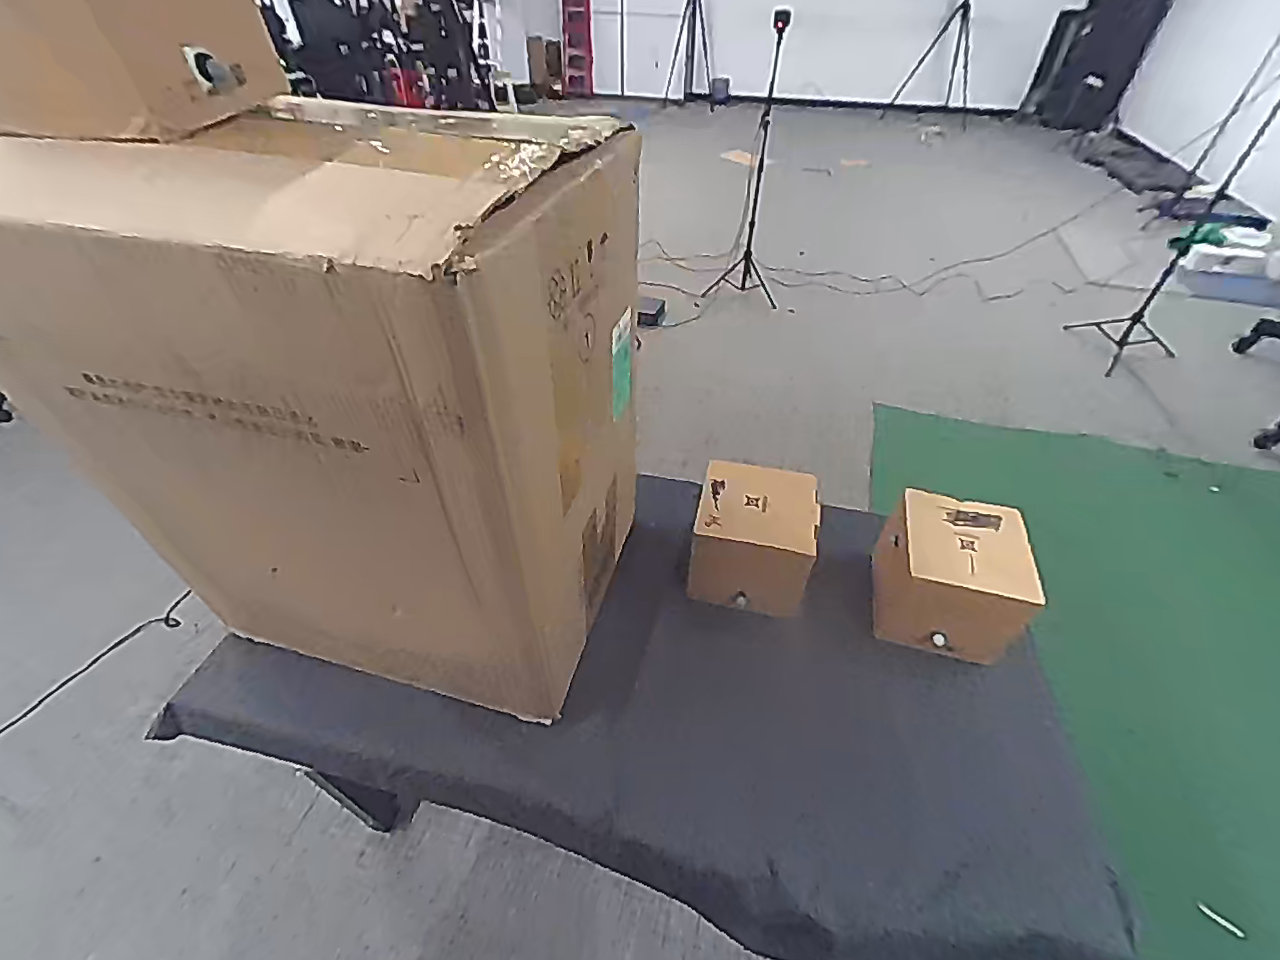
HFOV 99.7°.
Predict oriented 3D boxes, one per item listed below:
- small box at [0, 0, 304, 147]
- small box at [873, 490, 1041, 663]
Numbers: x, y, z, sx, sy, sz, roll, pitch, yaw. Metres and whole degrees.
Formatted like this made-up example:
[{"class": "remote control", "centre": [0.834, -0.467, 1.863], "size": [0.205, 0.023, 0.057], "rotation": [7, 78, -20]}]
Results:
[{"class": "small box", "centre": [-0.432, -0.394, 0.445], "size": [0.179, 0.176, 0.168], "rotation": [8, 50, 6]}, {"class": "small box", "centre": [0.467, 0.147, 0.831], "size": [0.168, 0.176, 0.179], "rotation": [12, 46, 12]}]
